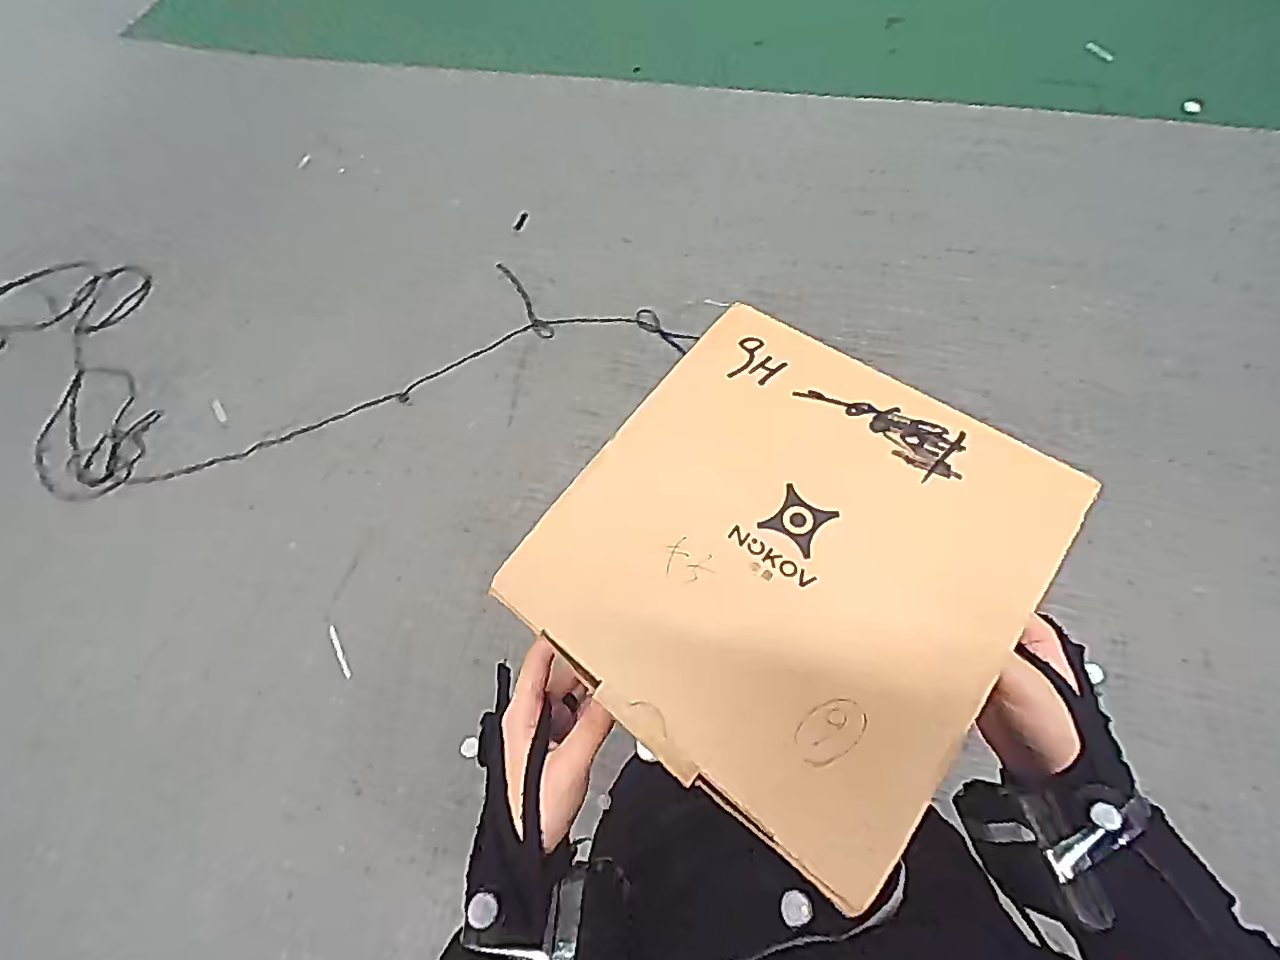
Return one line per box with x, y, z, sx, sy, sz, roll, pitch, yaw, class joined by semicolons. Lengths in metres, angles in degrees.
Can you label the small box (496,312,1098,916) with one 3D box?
0.067;0.058;0.281;0.168;0.176;0.179;36;76;21;small box
